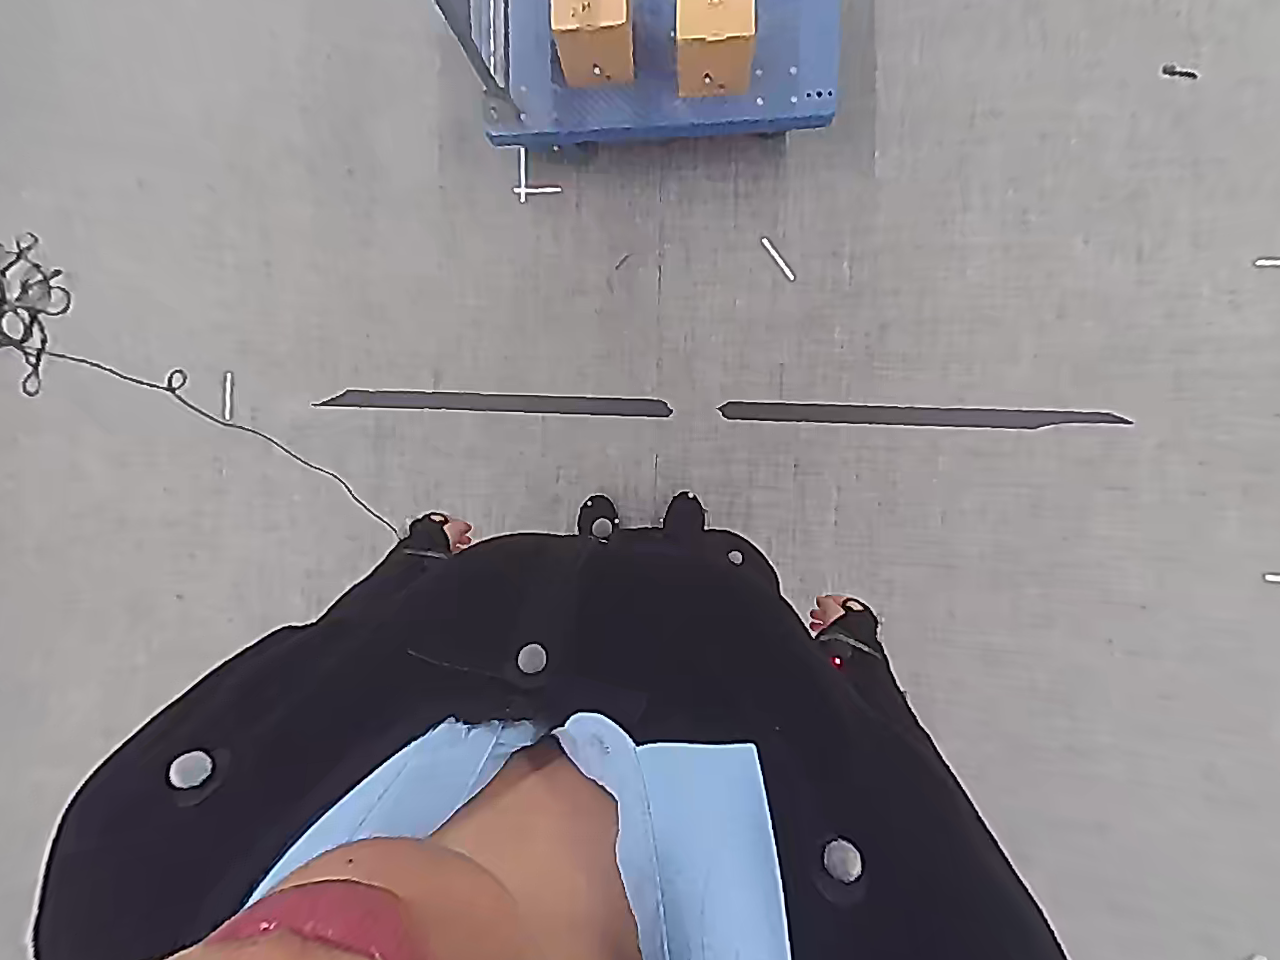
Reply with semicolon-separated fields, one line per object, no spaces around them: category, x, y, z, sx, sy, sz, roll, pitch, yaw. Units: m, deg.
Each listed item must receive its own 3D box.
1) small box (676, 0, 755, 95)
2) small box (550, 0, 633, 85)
small box;0.164;-1.012;1.216;0.168;0.176;0.179;0;90;5
small box;-0.106;-1.051;1.236;0.168;0.176;0.179;-1;90;5
